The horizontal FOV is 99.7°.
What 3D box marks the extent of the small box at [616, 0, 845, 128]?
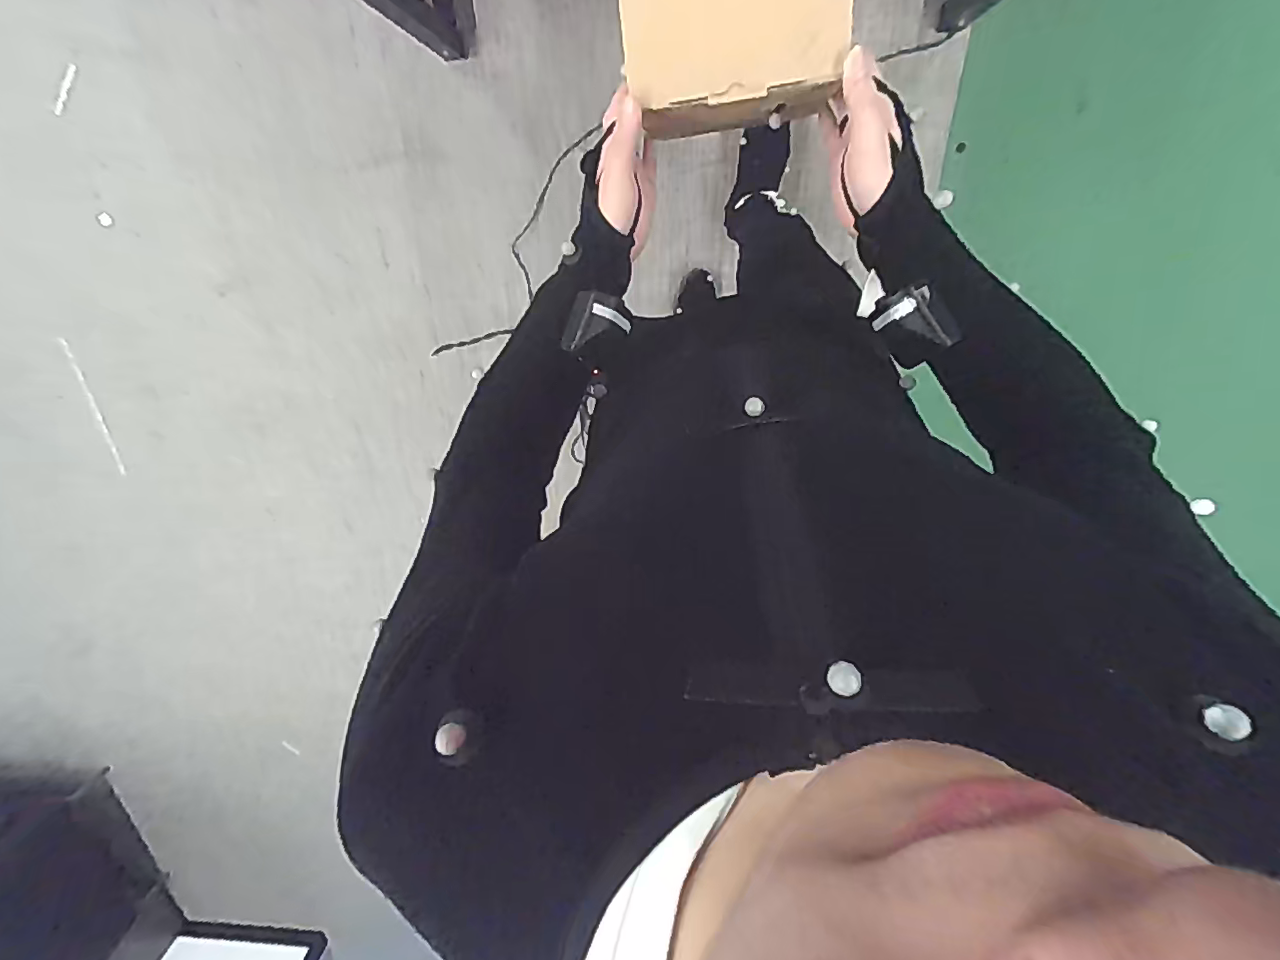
[{"bbox_3d":[0.071,-0.407,0.444,0.168,0.176,0.179,-3,115,9],"label":"small box"}]
